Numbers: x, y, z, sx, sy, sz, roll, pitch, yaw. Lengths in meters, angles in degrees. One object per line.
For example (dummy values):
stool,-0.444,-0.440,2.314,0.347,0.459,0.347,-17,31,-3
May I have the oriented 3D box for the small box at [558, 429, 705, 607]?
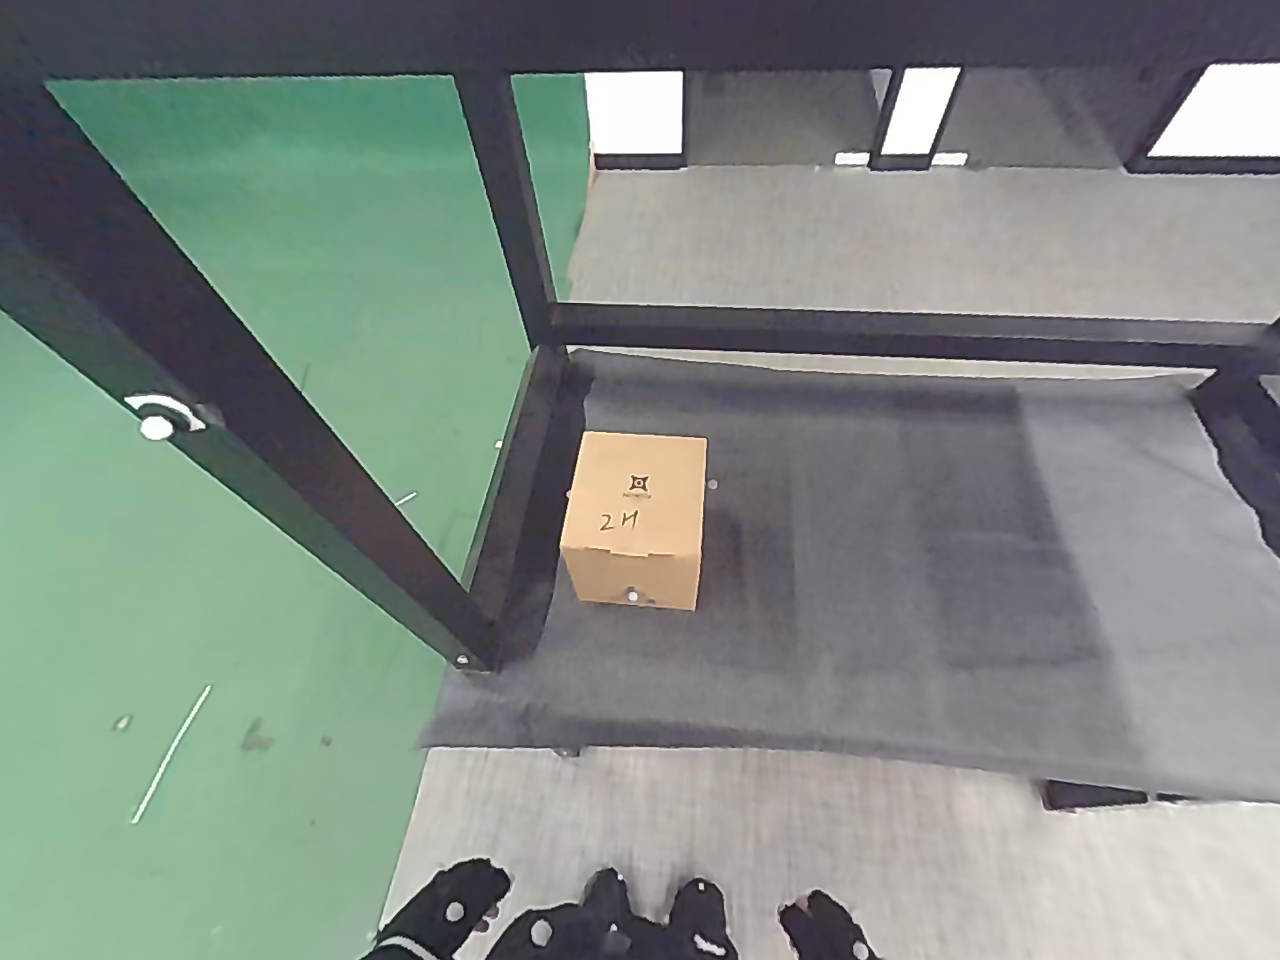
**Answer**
small box,-0.003,0.053,0.733,0.168,0.176,0.179,3,56,6
